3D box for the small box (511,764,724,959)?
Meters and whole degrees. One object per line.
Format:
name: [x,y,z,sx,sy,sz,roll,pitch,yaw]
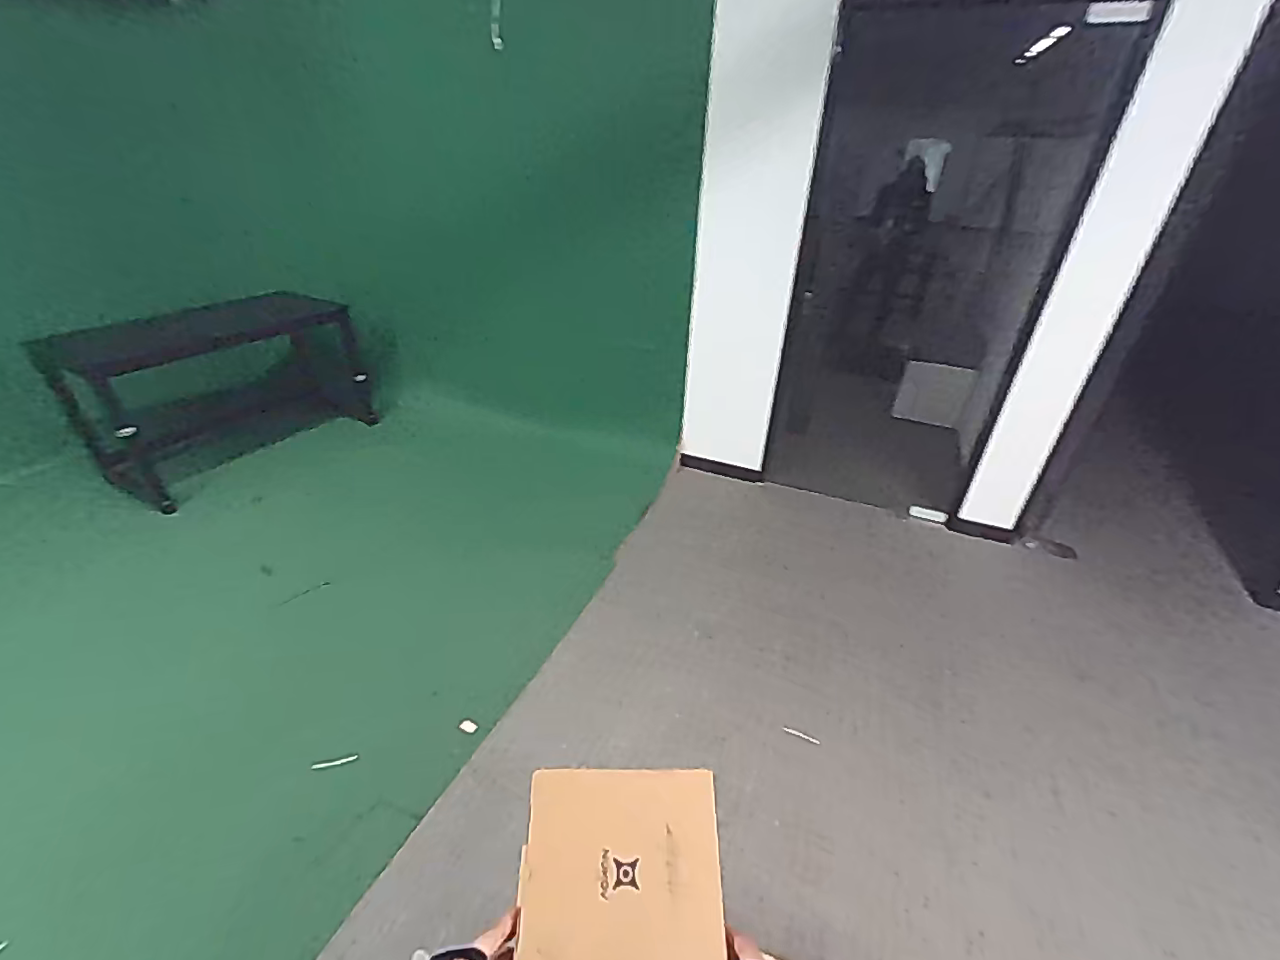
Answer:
small box: [-0.018,0.390,0.539,0.179,0.176,0.168,0,53,-1]
